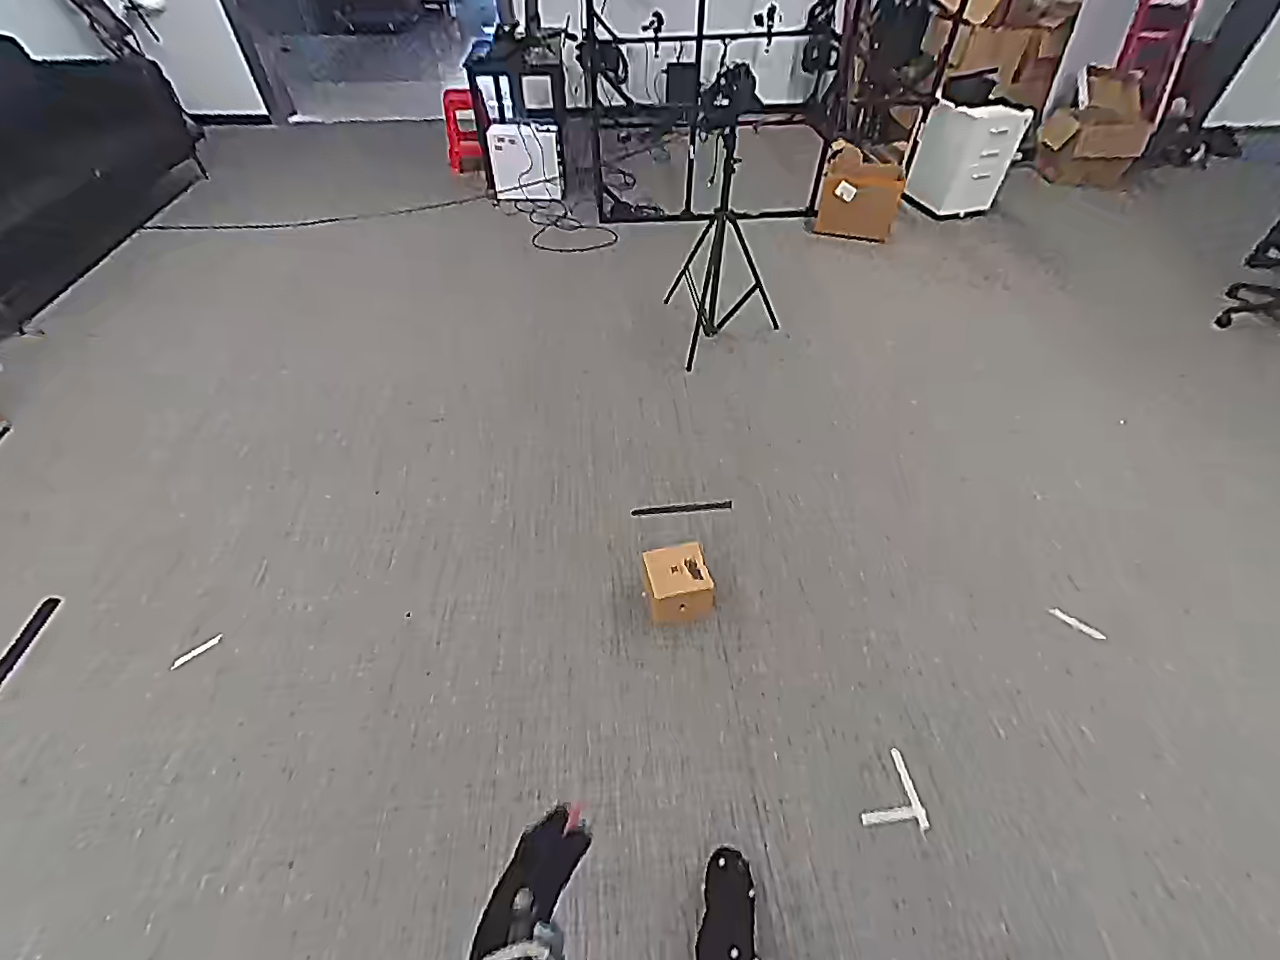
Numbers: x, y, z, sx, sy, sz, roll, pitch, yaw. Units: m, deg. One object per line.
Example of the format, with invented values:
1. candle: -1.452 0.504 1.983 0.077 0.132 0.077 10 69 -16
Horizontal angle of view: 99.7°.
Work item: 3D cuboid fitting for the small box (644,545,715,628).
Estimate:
1. small box: 0.112 0.321 1.625 0.179 0.176 0.168 -10 48 -8
